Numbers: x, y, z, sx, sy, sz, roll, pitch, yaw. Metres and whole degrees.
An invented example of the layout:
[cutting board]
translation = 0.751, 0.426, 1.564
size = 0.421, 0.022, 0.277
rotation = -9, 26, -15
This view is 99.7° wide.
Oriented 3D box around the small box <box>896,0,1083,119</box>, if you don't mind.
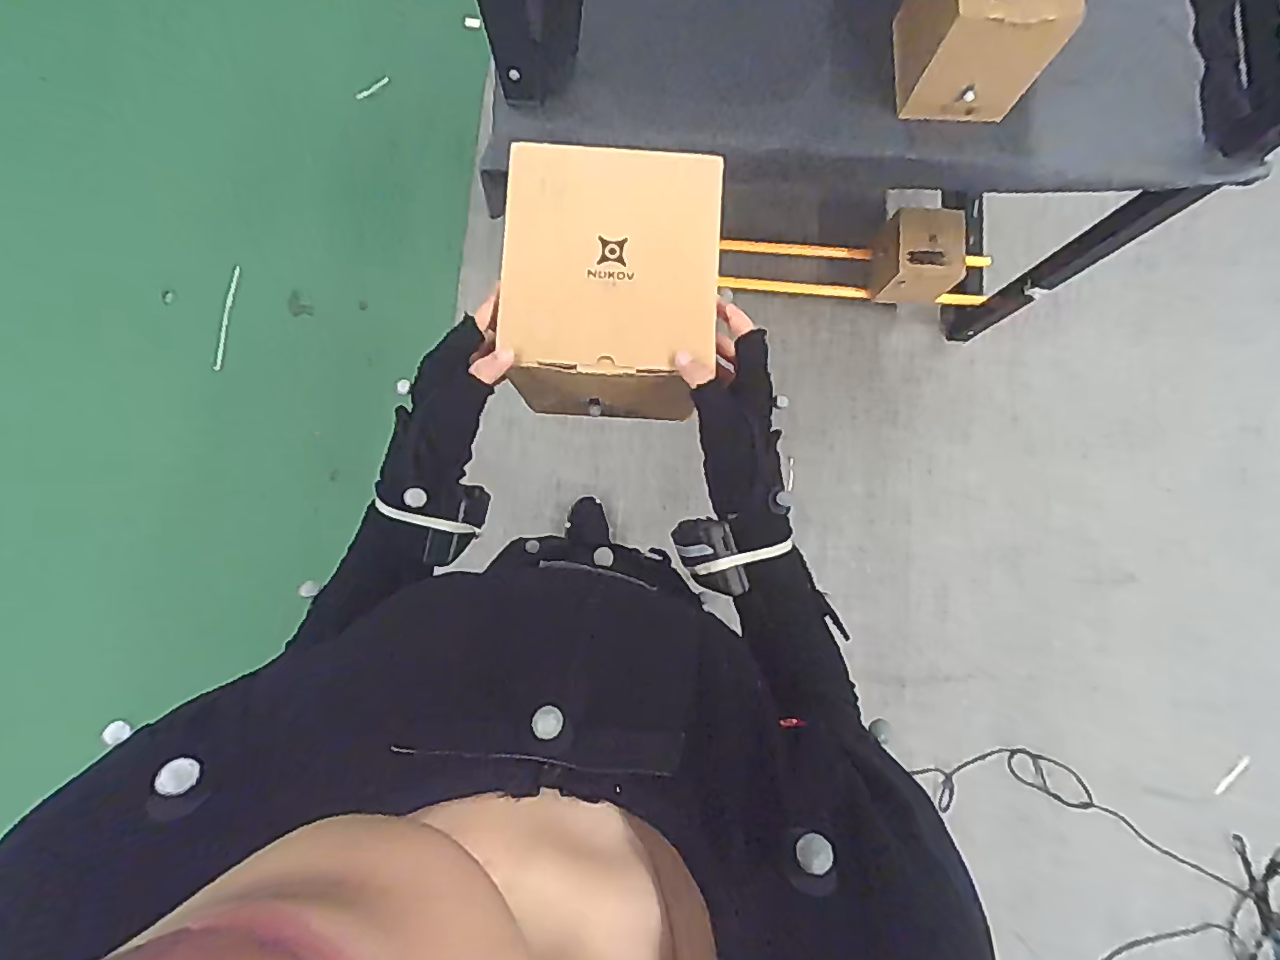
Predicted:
[small box]
translation = 0.492, -0.673, 0.788
size = 0.168, 0.176, 0.179
rotation = 2, 82, 0
